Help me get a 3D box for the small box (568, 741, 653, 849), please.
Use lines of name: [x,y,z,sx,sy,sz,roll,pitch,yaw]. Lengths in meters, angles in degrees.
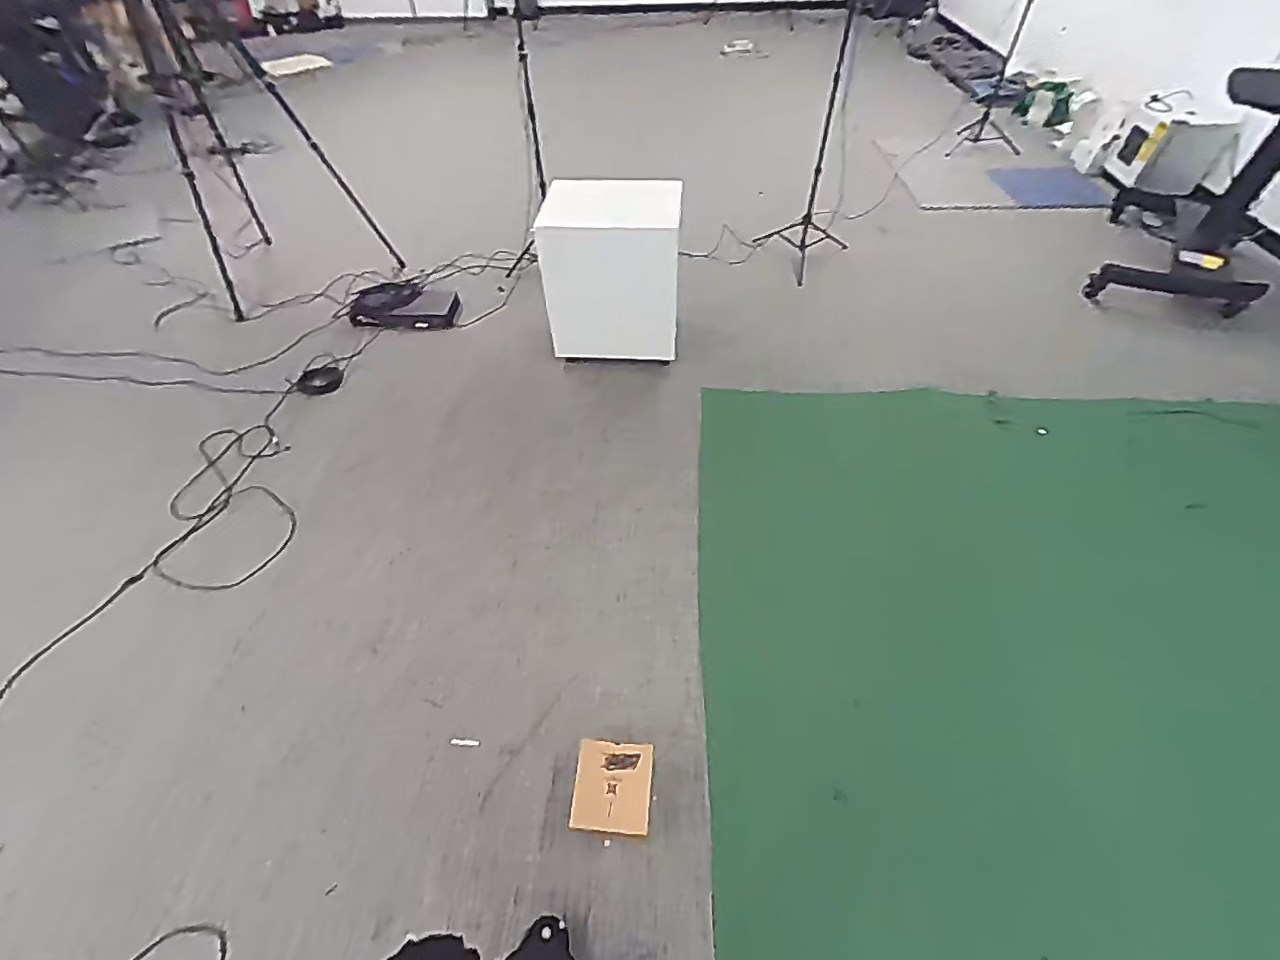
small box: [-0.060,0.712,1.219,0.168,0.176,0.179,3,51,4]
